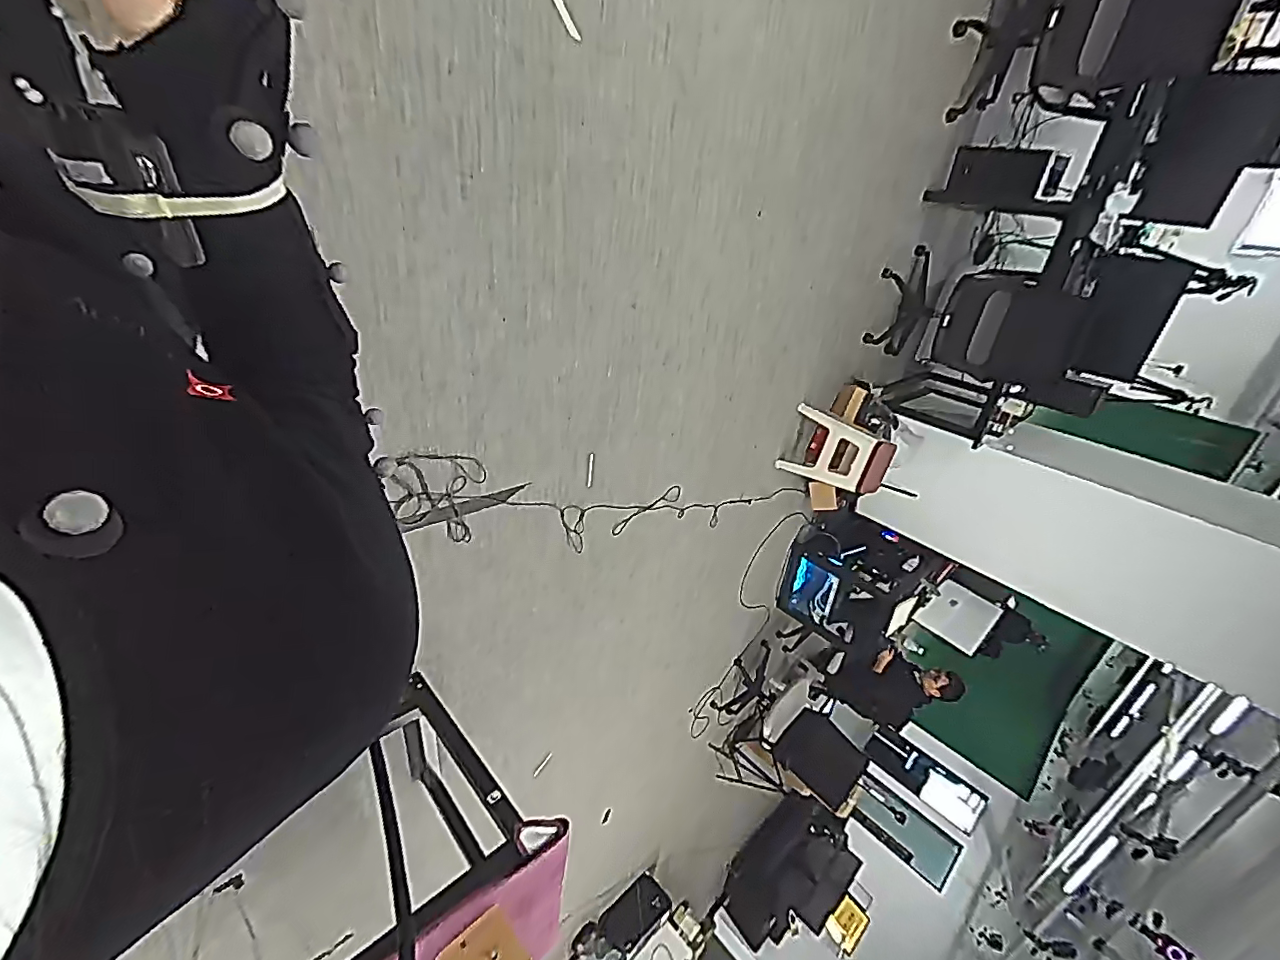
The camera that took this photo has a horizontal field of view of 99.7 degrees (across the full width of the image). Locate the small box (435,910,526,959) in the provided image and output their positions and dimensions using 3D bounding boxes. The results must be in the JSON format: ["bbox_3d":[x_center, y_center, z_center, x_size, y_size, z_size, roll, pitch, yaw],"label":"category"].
[{"bbox_3d":[-0.380,1.204,1.314,0.168,0.176,0.179,-25,132,-36],"label":"small box"}]
